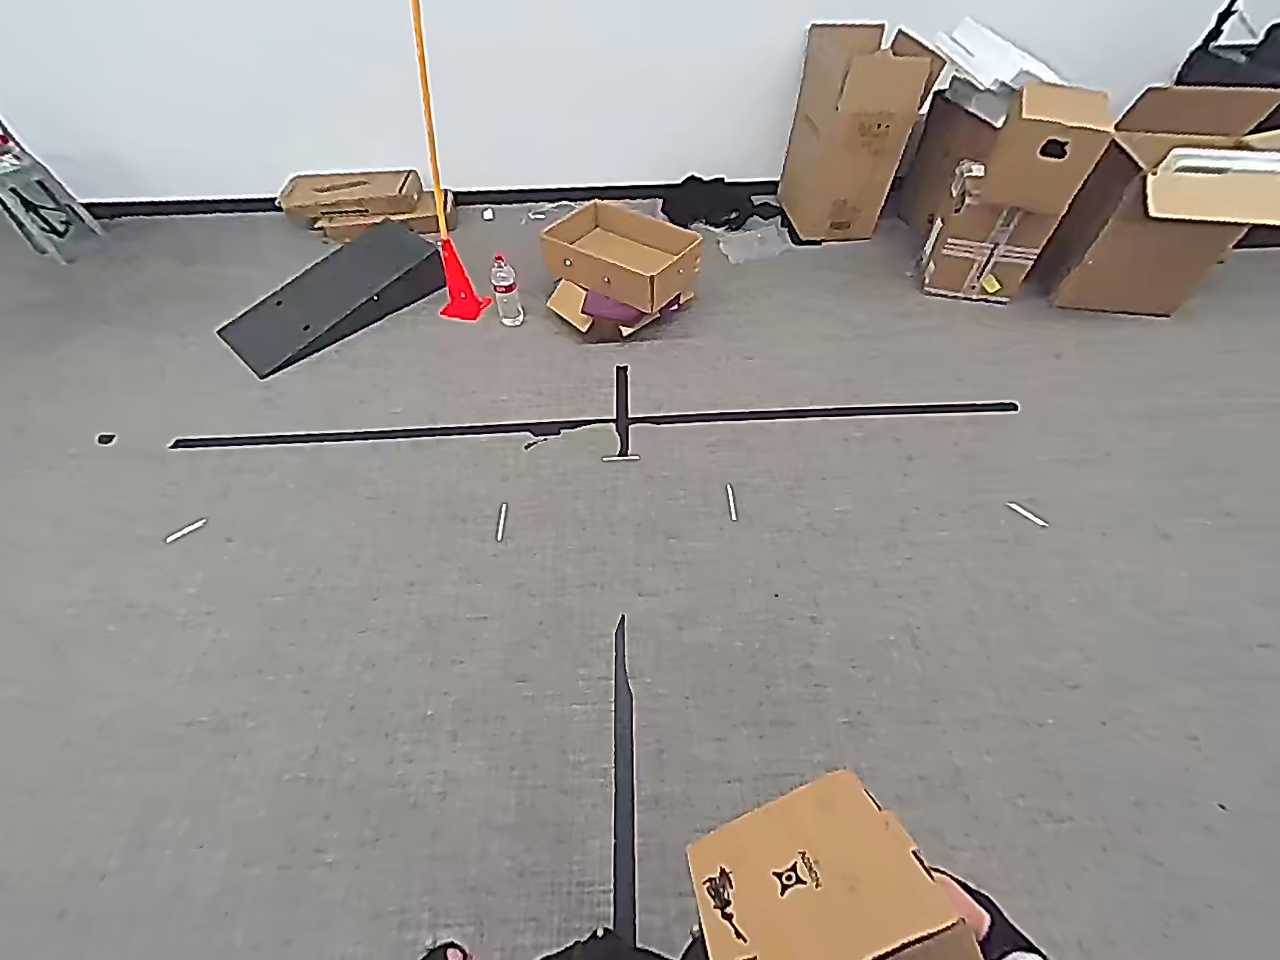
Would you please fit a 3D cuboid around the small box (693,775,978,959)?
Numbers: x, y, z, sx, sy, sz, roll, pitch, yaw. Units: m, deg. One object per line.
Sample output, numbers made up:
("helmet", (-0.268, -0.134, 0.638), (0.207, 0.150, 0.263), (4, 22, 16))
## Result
("small box", (0.166, 0.400, 0.452), (0.179, 0.168, 0.176), (-24, 95, -3))
